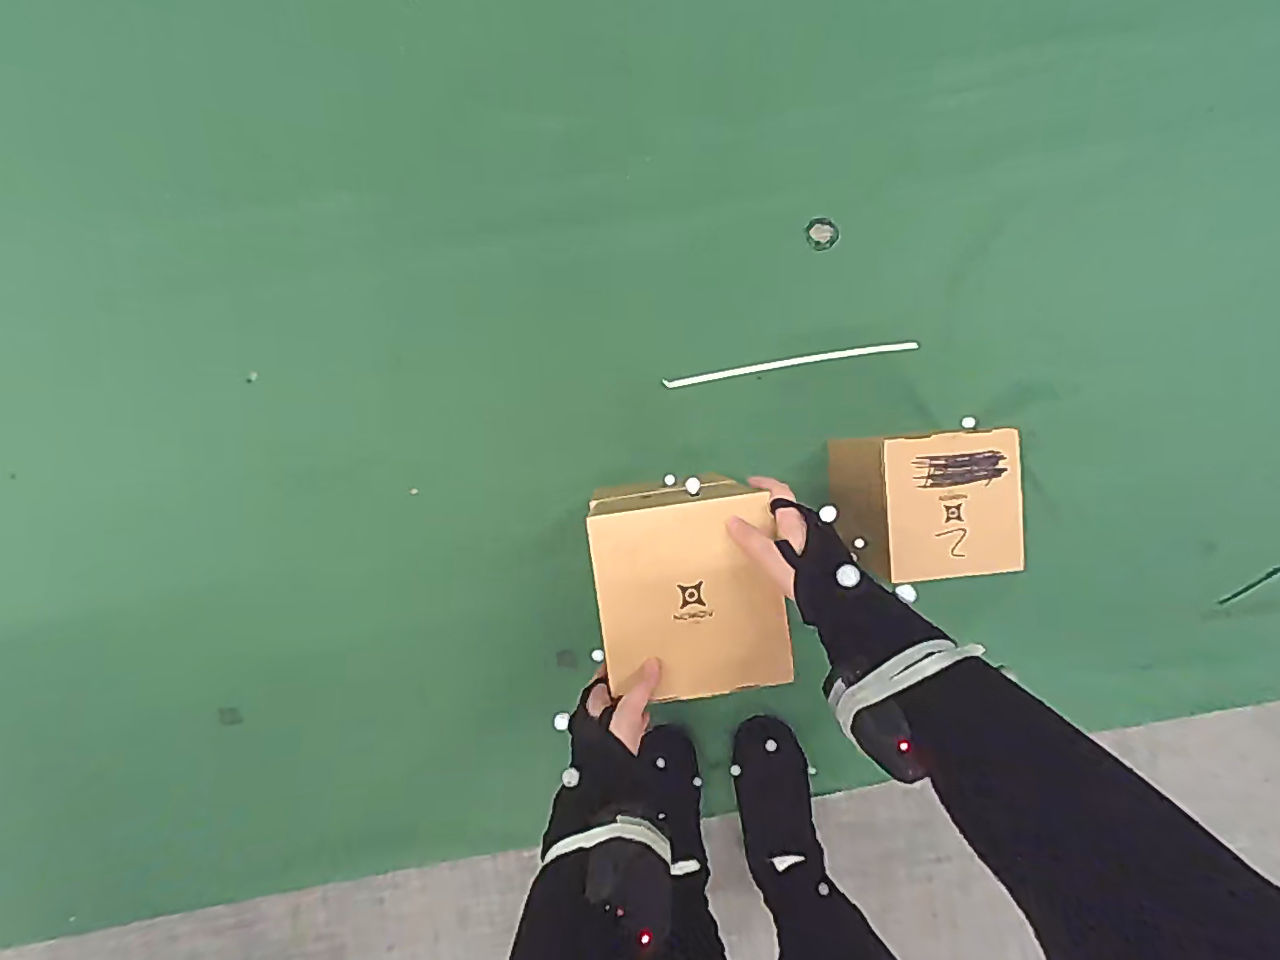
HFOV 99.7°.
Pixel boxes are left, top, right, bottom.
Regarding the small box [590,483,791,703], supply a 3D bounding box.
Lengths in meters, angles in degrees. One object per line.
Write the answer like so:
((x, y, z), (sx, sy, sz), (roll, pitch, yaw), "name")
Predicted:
((0.041, 0.098, 0.555), (0.168, 0.176, 0.179), (-8, 94, -1), "small box")

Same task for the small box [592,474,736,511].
((0.037, 0.087, 0.719), (0.179, 0.176, 0.168), (-9, 94, 0), "small box")
